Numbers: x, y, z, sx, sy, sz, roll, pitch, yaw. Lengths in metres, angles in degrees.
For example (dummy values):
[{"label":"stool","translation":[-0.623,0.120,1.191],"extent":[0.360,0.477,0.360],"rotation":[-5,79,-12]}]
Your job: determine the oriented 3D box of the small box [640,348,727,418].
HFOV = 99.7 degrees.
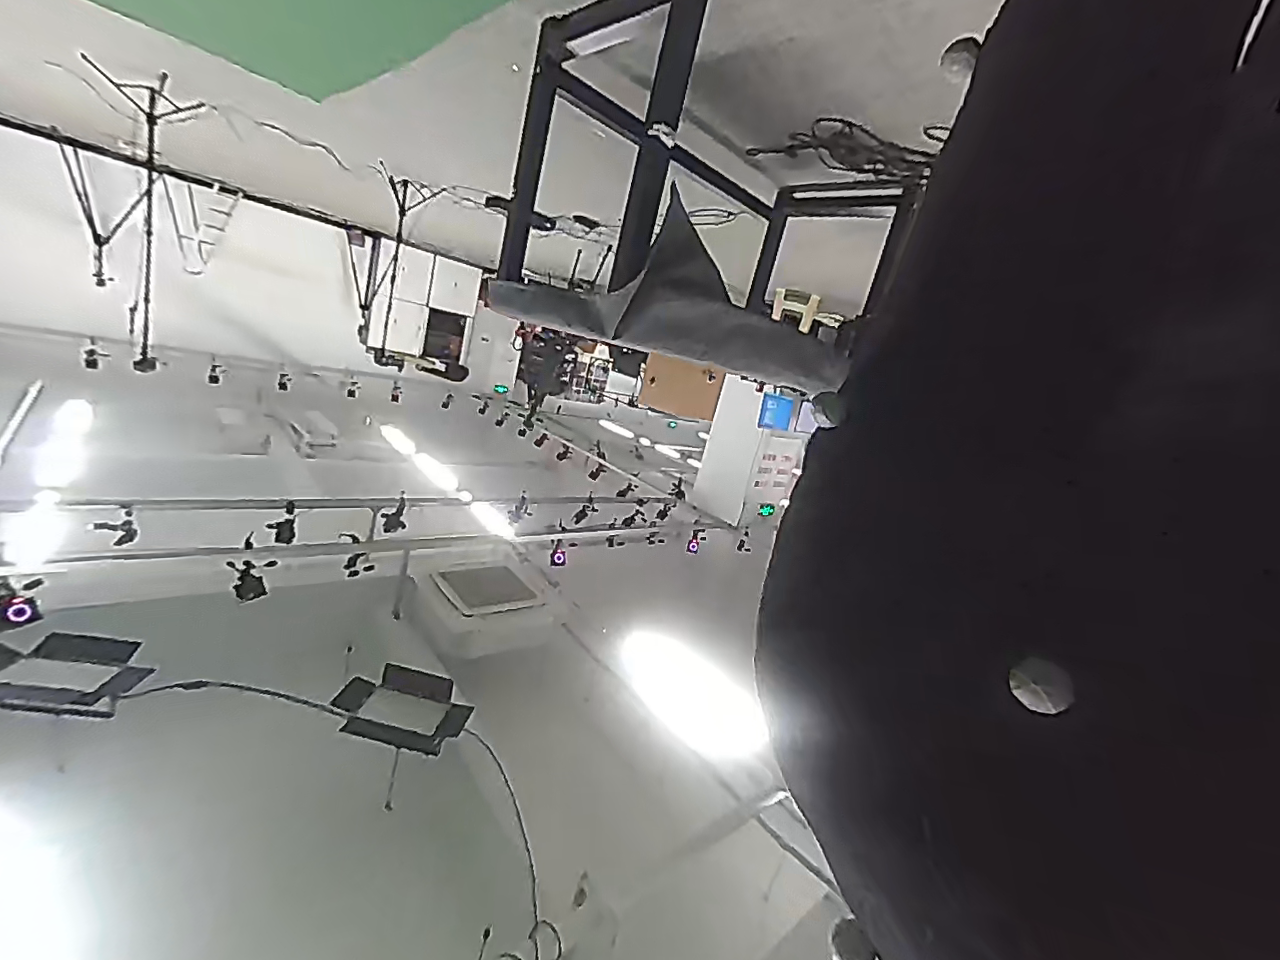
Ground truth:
[{"label":"small box","translation":[0.130,-0.290,1.600],"extent":[0.168,0.176,0.179],"rotation":[-1,-160,-44]}]
